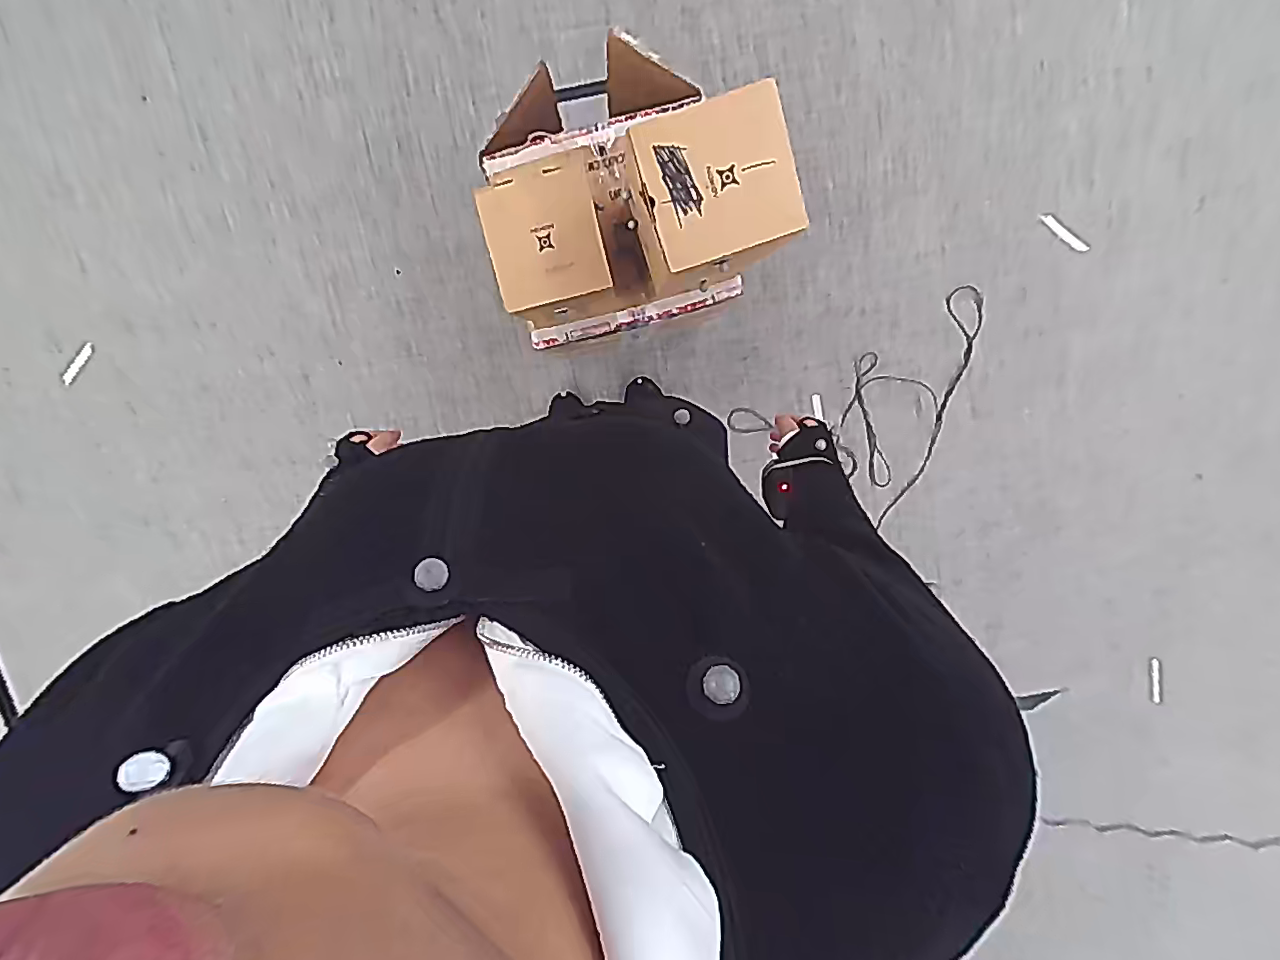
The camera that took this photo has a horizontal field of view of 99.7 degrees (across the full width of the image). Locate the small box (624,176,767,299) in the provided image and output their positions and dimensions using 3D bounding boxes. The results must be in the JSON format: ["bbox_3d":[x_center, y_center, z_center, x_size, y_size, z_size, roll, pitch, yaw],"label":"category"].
[{"bbox_3d":[0.081,-0.404,0.868,0.179,0.176,0.168,-19,102,1],"label":"small box"}]

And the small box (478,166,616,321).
[{"bbox_3d":[-0.138,-0.366,0.868,0.168,0.176,0.179,-14,103,3],"label":"small box"}]

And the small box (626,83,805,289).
[{"bbox_3d":[0.088,-0.364,0.707,0.179,0.176,0.168,-19,102,1],"label":"small box"}]
